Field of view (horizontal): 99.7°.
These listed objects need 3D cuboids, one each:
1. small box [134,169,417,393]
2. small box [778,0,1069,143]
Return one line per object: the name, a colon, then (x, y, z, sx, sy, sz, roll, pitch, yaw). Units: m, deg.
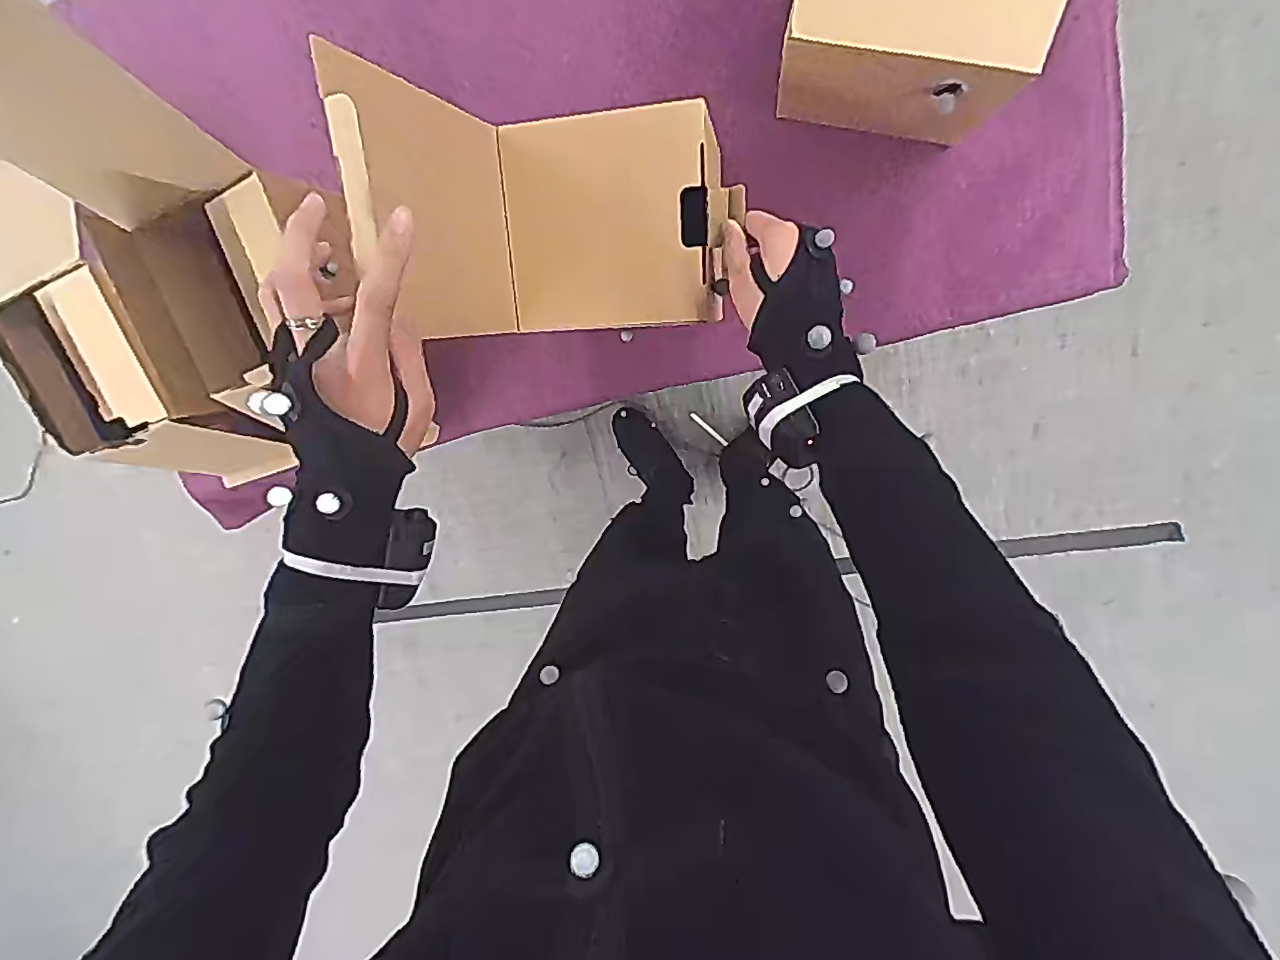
small box: (-0.388, -0.213, 0.610, 0.168, 0.176, 0.179, -13, 103, 14)
small box: (0.219, -0.389, 0.425, 0.179, 0.176, 0.168, 15, 109, 7)
